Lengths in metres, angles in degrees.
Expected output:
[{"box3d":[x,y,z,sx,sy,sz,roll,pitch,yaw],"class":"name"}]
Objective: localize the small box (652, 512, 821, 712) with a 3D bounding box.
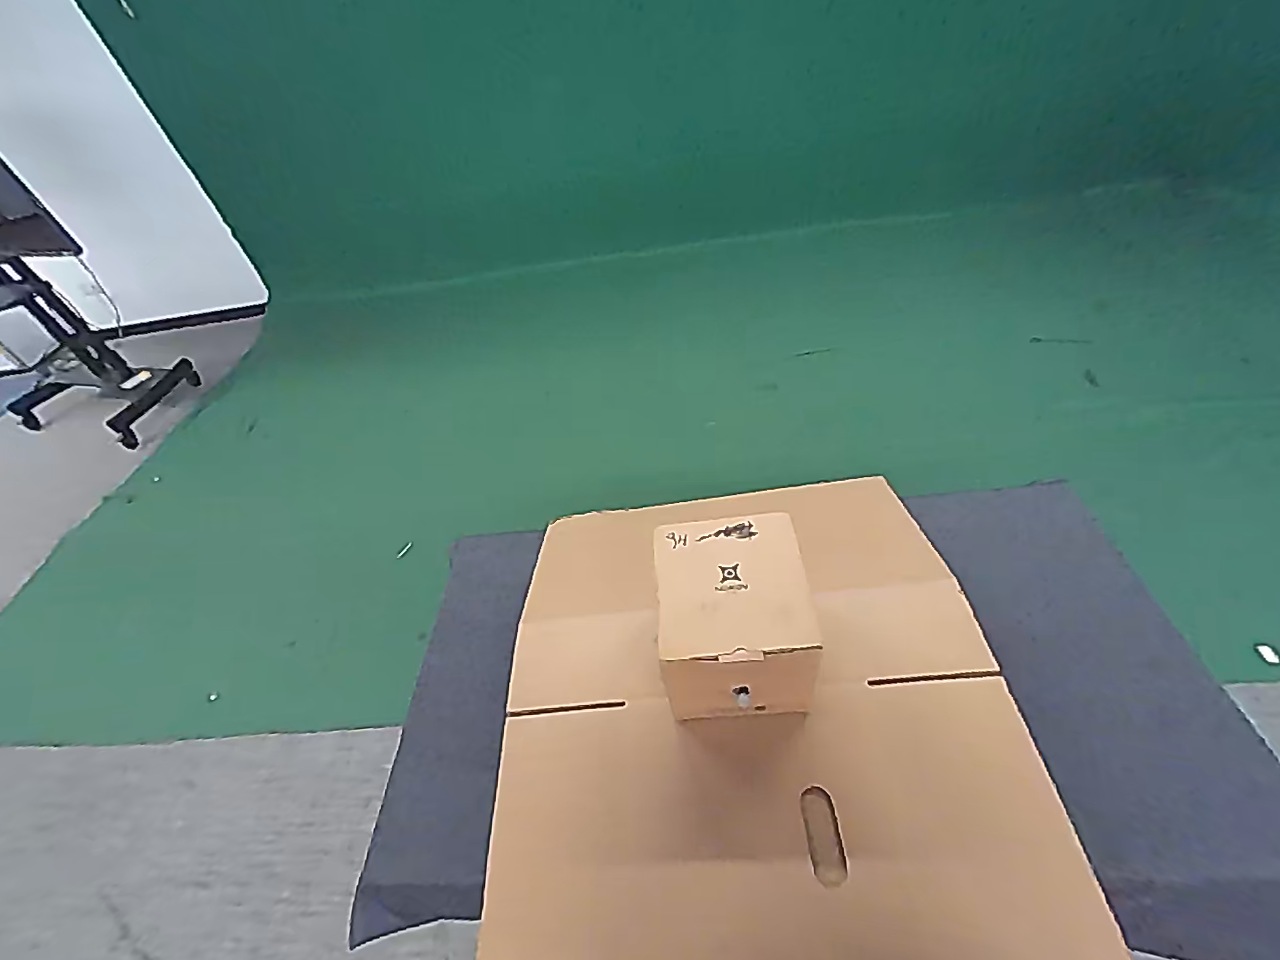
[{"box3d":[0.111,0.166,0.655,0.168,0.176,0.179,-8,46,4],"class":"small box"}]
